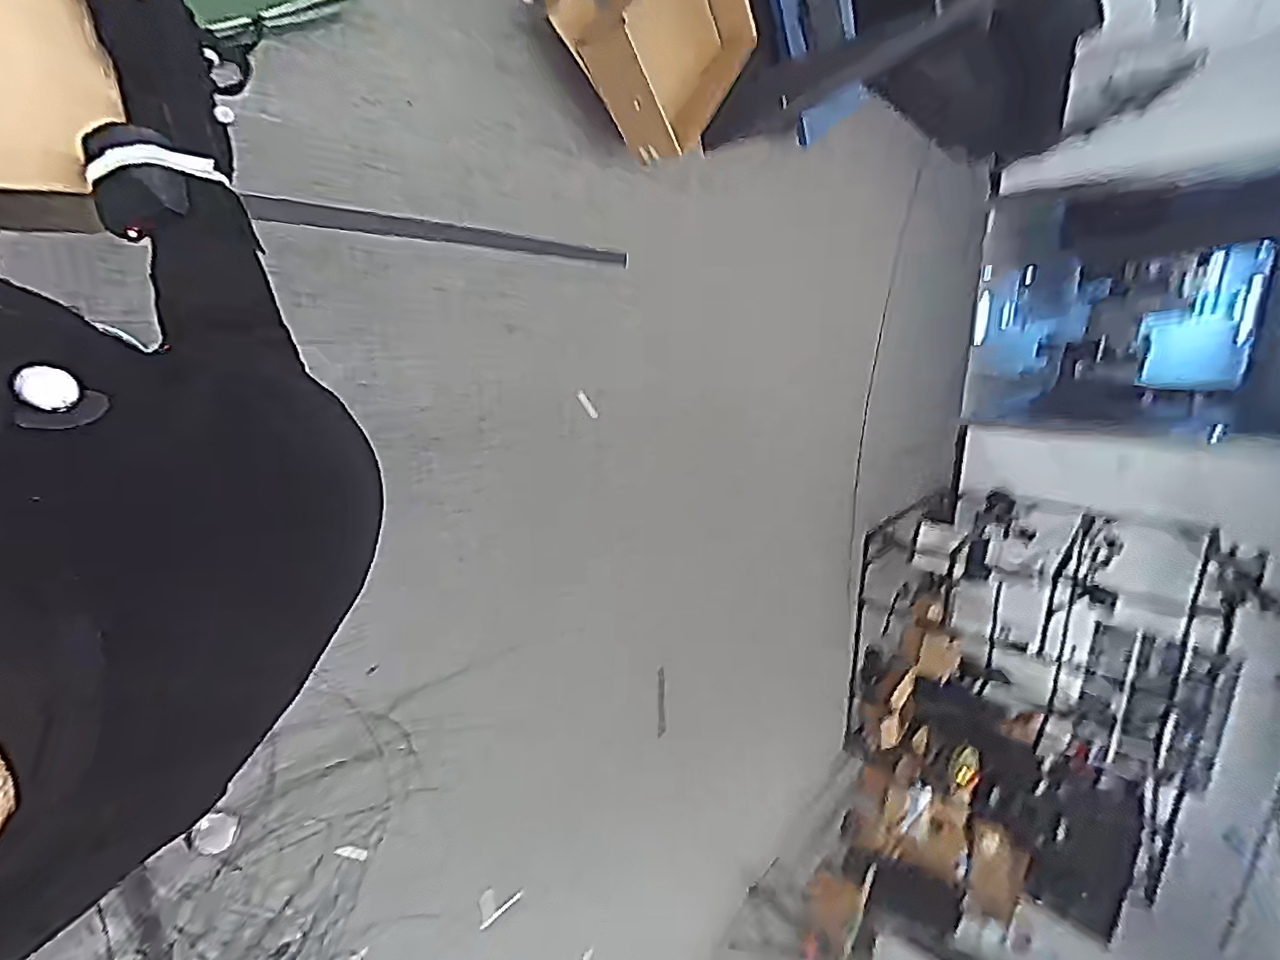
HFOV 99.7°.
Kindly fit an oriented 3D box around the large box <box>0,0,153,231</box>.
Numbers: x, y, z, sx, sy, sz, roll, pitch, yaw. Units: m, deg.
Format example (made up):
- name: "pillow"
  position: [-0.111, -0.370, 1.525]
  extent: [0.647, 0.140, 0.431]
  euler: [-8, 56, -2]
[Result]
- name: "large box"
  position: [-0.655, -0.347, 0.353]
  extent: [0.408, 0.320, 0.320]
  euler: [-24, 120, -45]
